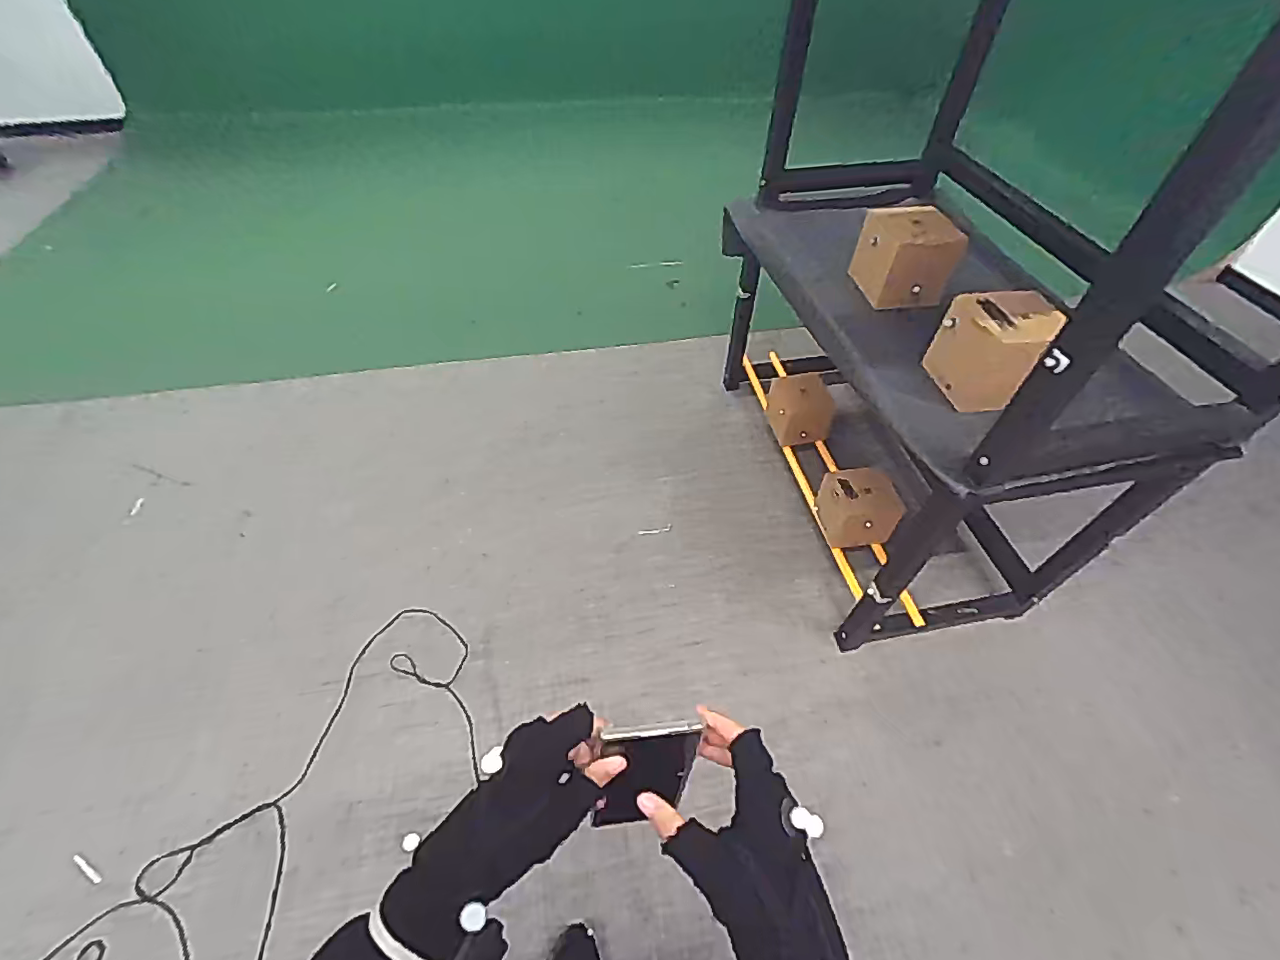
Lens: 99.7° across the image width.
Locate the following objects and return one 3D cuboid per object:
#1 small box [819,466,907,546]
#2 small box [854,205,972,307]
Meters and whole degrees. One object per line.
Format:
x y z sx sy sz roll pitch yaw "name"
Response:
0.646 0.082 1.598 0.179 0.176 0.168 -6 51 -5 "small box"
0.644 -0.540 1.304 0.168 0.176 0.179 -6 51 -5 "small box"
